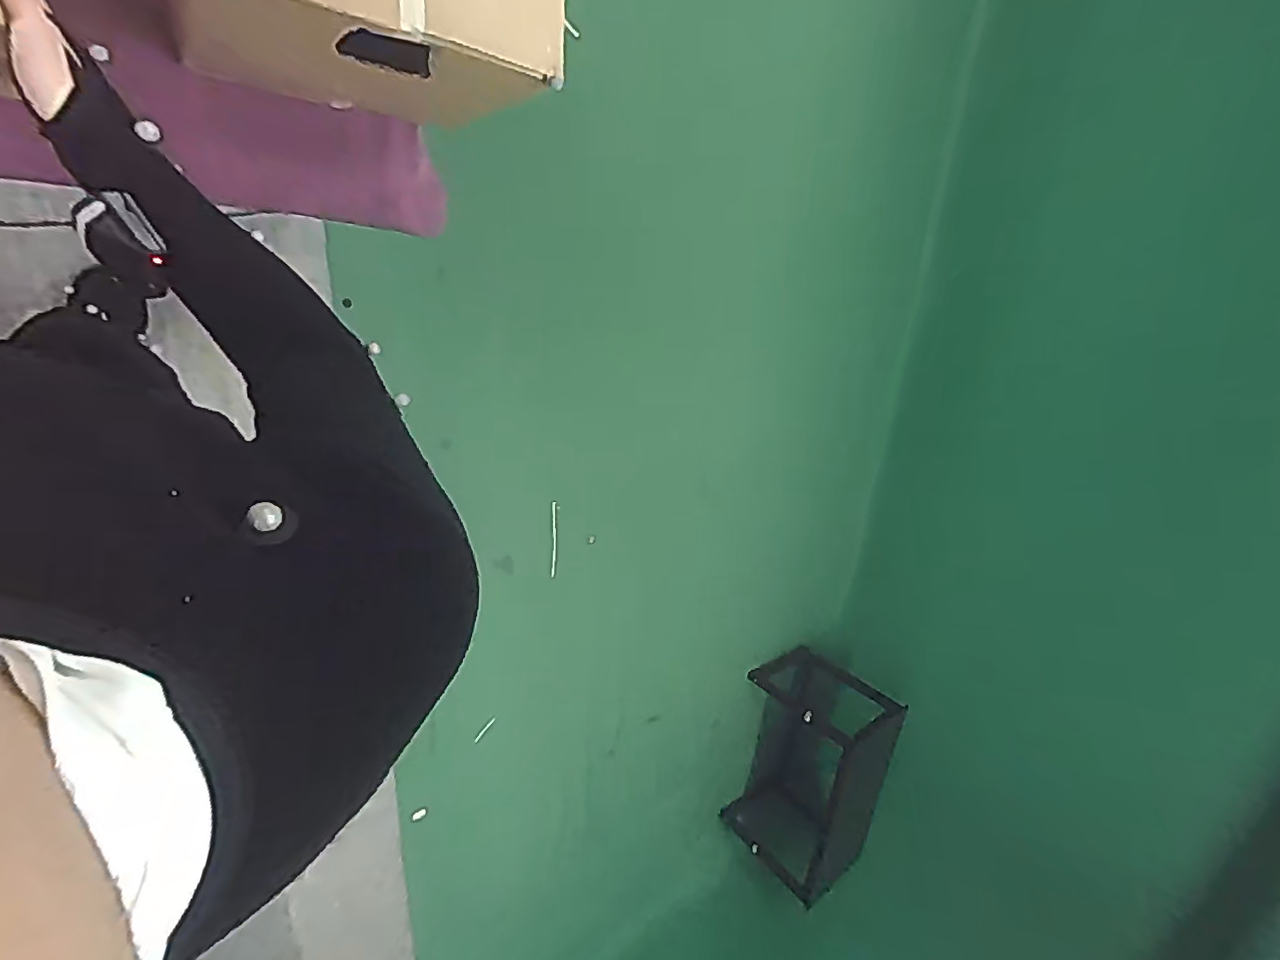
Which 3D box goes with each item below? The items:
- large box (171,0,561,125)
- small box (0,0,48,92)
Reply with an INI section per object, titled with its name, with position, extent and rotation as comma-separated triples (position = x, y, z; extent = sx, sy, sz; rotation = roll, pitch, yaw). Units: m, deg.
[large box]
position = -0.284, -0.624, 0.517
extent = 0.320, 0.320, 0.408
rotation = -11, 116, -36
[small box]
position = -0.608, -0.428, 0.412
extent = 0.179, 0.176, 0.168
rotation = -12, 114, -39
